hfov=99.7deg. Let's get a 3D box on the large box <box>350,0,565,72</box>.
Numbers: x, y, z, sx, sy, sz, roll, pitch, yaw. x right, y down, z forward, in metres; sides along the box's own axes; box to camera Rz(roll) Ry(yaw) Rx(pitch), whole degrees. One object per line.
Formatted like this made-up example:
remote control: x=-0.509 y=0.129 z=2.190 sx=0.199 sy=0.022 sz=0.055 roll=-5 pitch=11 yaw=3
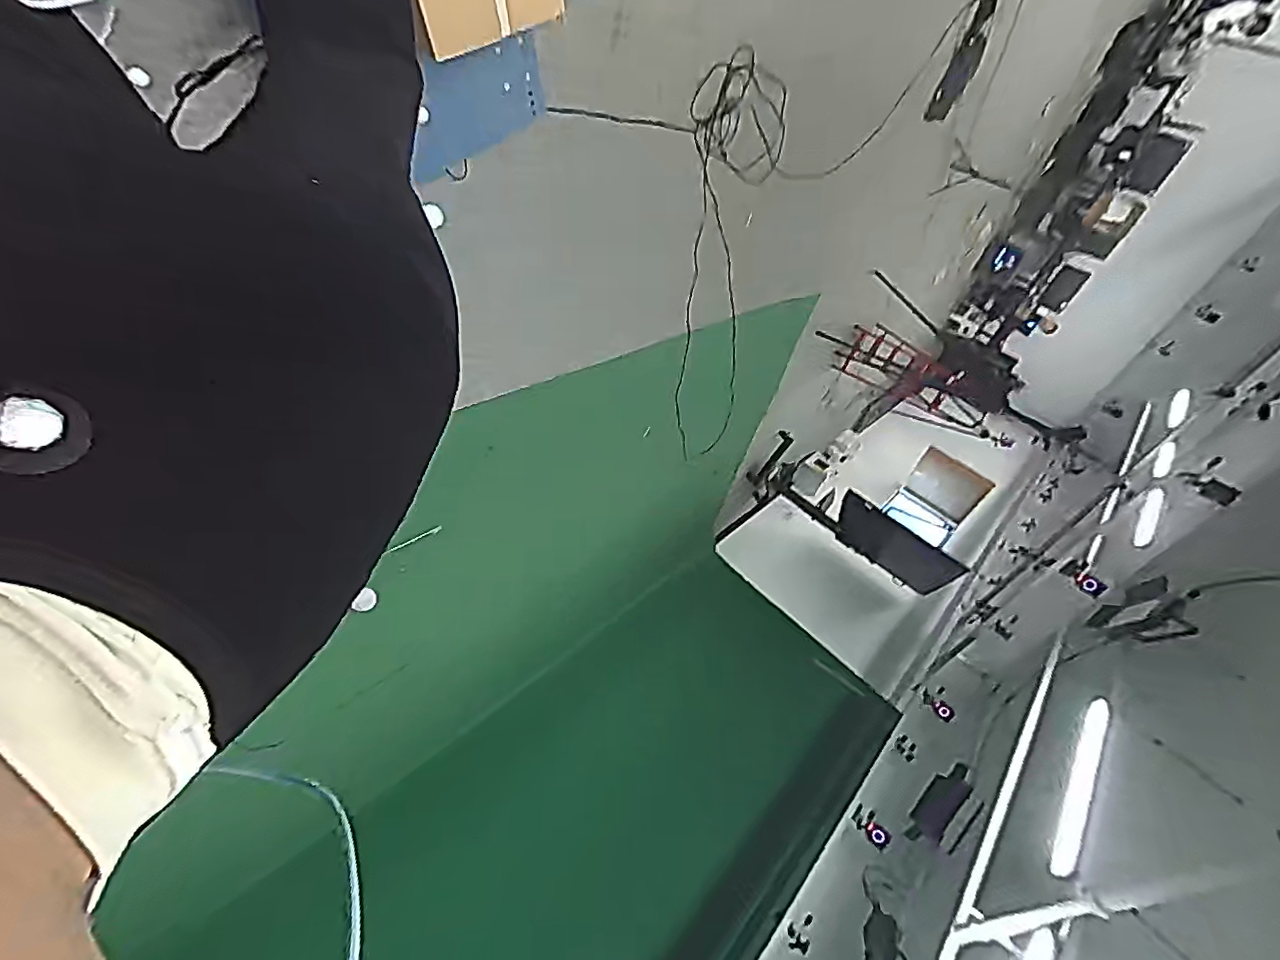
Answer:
large box: x=-0.372 y=-1.037 z=0.943 sx=0.320 sy=0.320 sz=0.408 roll=-40 pitch=155 yaw=-21
